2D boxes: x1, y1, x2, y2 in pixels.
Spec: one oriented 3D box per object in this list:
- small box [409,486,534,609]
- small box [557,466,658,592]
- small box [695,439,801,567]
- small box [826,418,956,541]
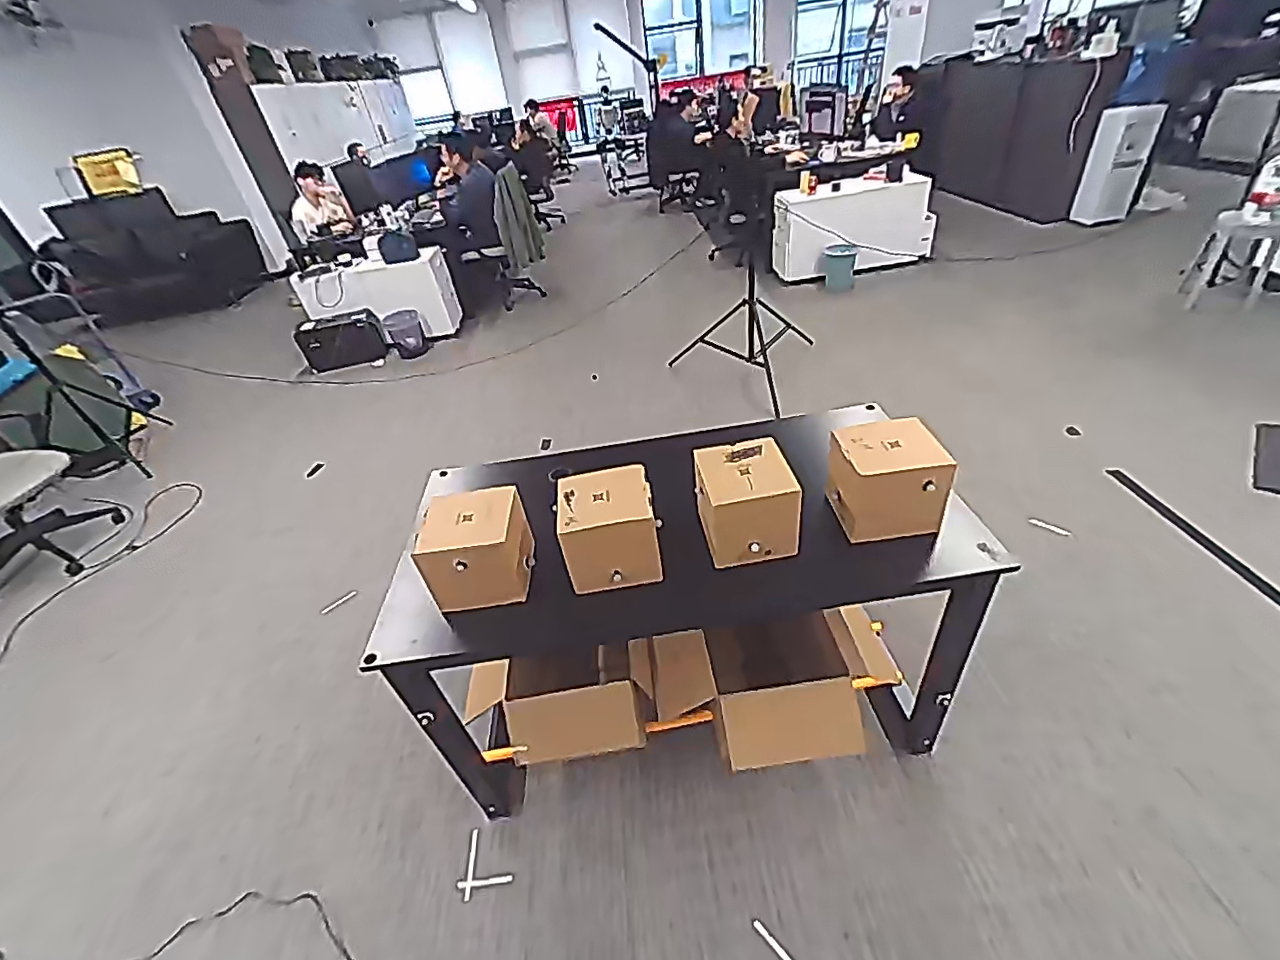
[{"bbox_3d":[-0.321,0.136,1.067,0.179,0.176,0.168,-8,38,0],"label":"small box"},{"bbox_3d":[-0.061,0.097,1.061,0.179,0.176,0.168,-9,37,-1],"label":"small box"},{"bbox_3d":[0.206,0.045,1.073,0.168,0.176,0.179,-10,38,-1],"label":"small box"},{"bbox_3d":[0.483,0.000,1.070,0.179,0.176,0.168,-8,36,3],"label":"small box"}]
